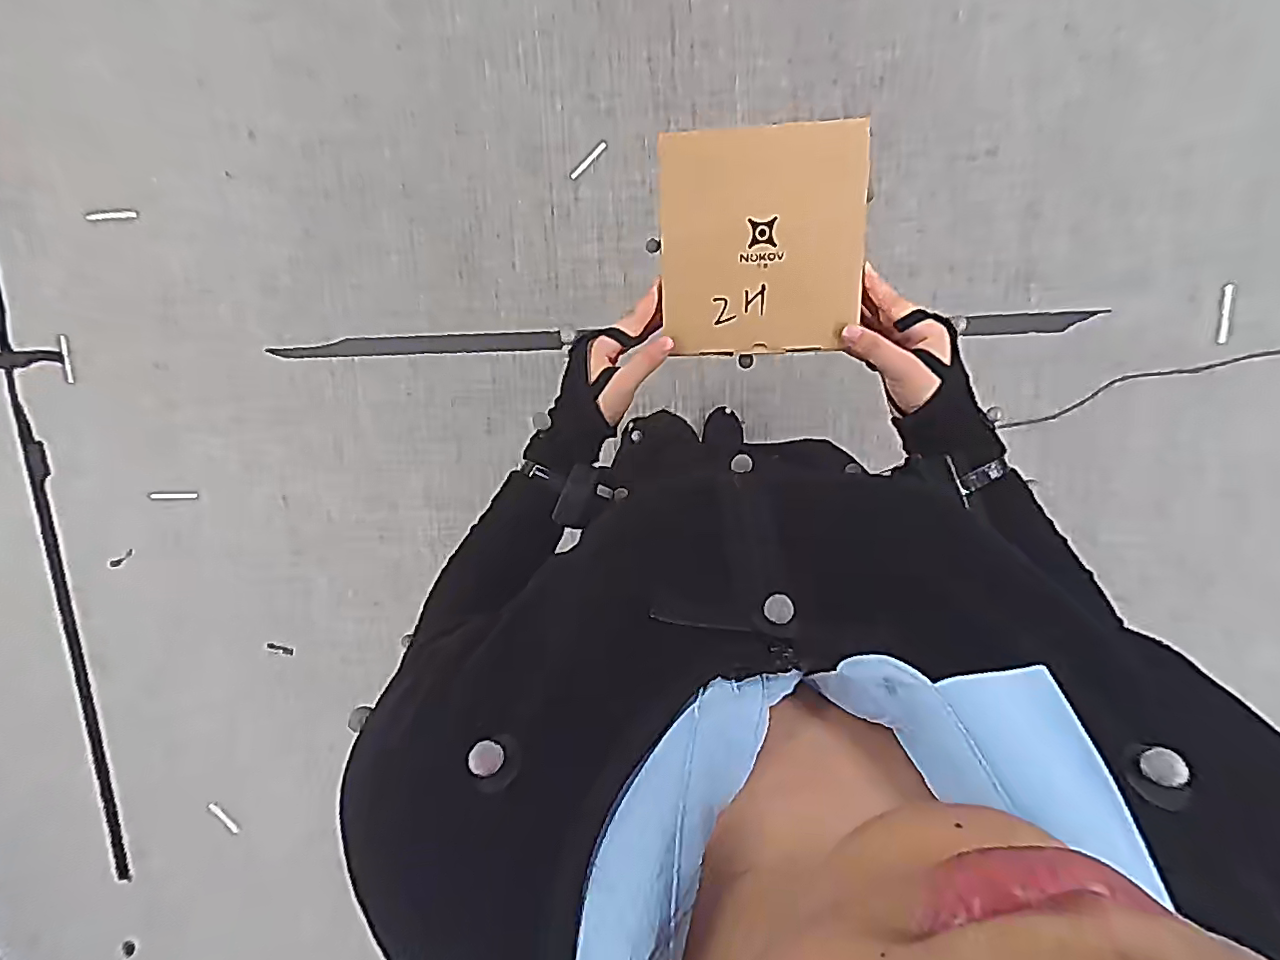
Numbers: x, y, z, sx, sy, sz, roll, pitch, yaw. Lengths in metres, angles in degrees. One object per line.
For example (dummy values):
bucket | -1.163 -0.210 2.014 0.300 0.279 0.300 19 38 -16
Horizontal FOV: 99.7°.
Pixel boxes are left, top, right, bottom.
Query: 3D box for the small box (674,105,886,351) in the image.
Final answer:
small box | 0.116 -0.217 0.513 0.168 0.176 0.179 -1 103 6
